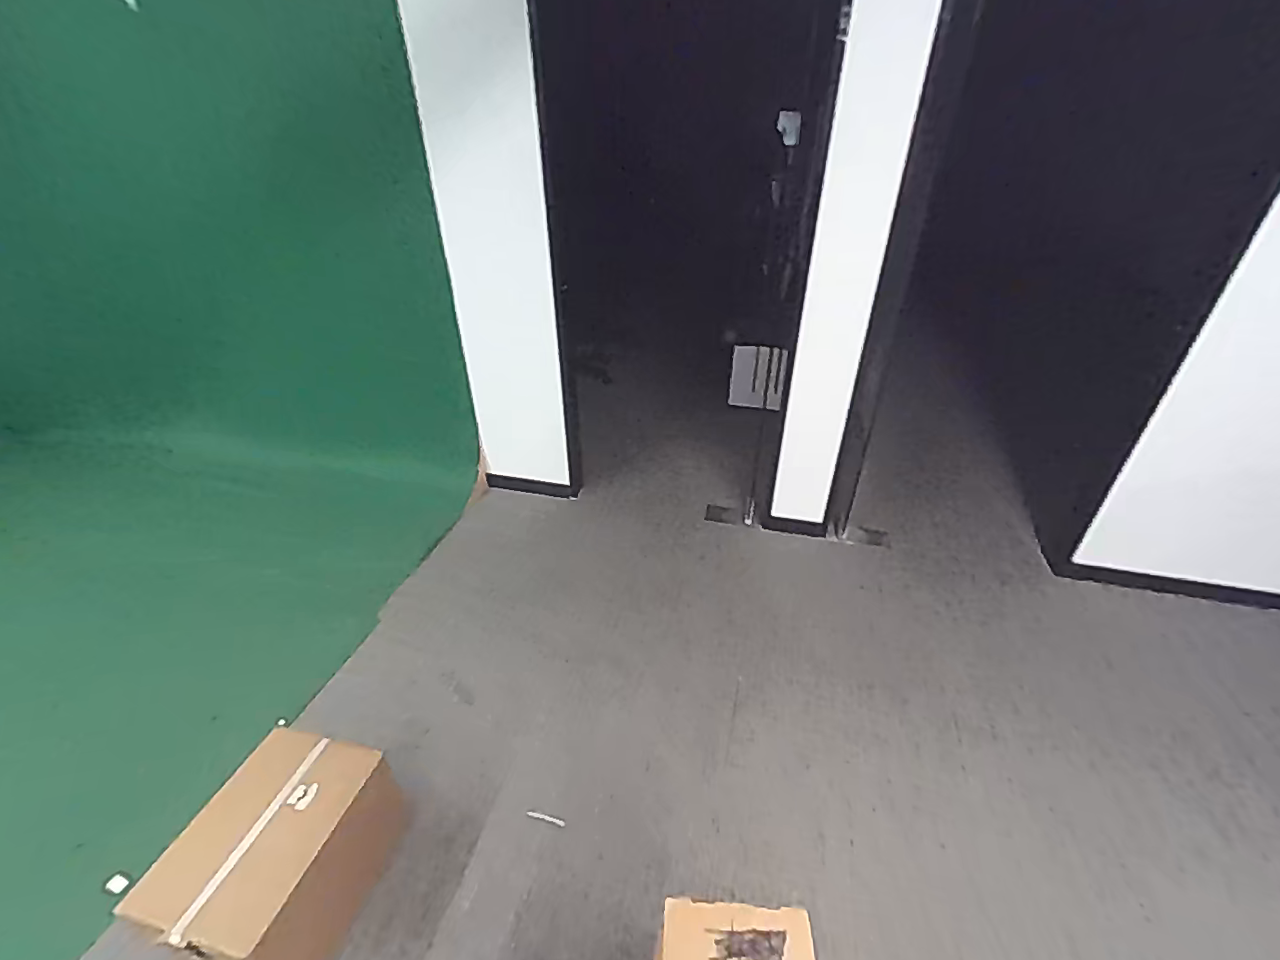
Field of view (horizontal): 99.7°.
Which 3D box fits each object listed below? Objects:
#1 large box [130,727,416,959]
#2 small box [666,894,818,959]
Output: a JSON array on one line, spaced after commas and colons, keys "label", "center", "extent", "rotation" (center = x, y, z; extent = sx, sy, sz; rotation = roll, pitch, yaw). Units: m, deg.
[{"label": "large box", "center": [-0.796, 0.867, 1.250], "extent": [0.320, 0.320, 0.408], "rotation": [7, 33, 12]}, {"label": "small box", "center": [0.108, 0.603, 0.598], "extent": [0.168, 0.176, 0.179], "rotation": [1, 33, 5]}]
